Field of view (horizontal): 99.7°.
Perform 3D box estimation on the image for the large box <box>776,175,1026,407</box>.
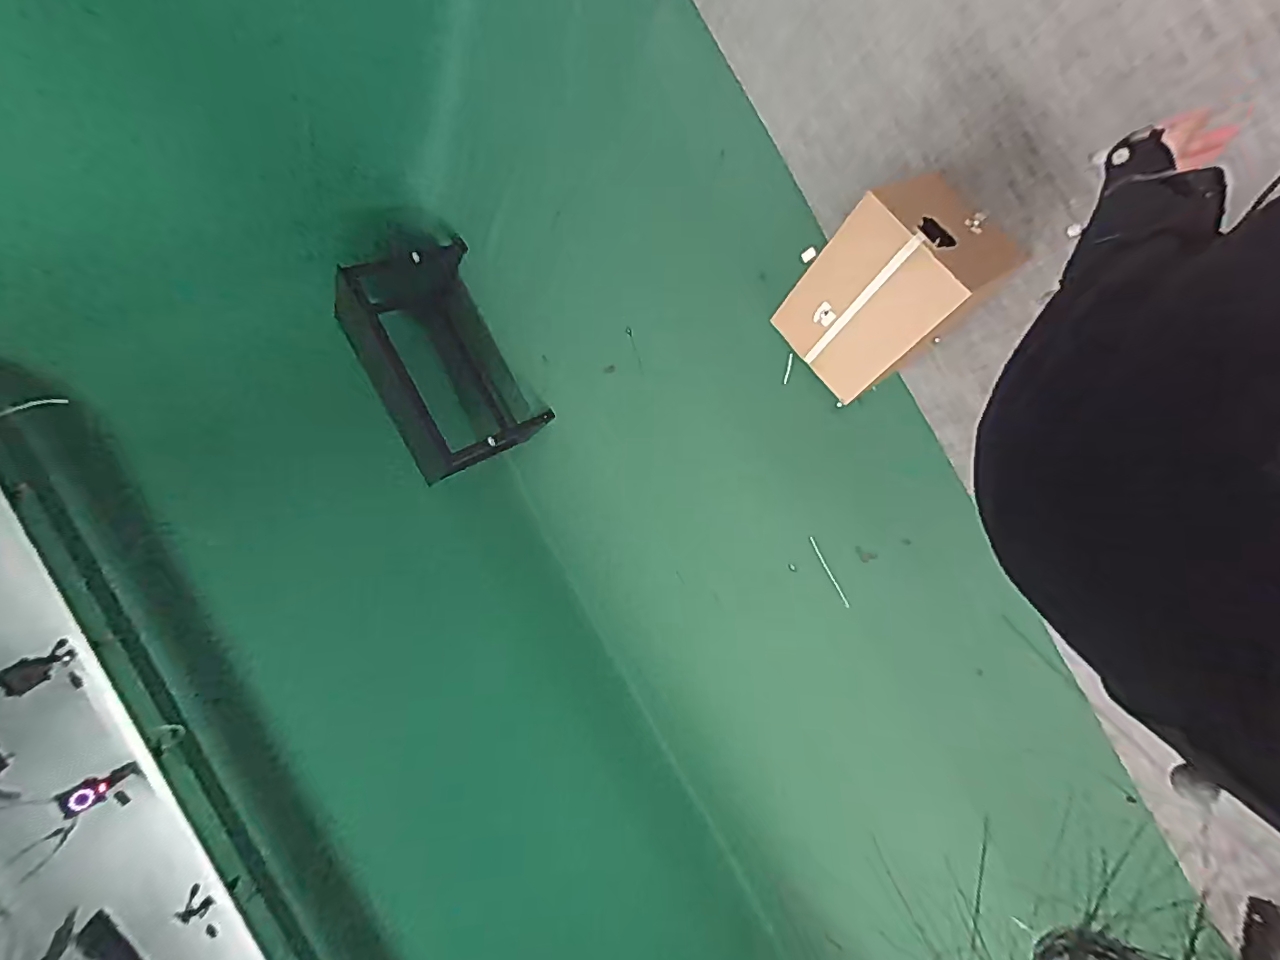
[{"bbox_3d":[0.627,-0.462,1.347,0.320,0.320,0.408,54,149,12],"label":"large box"}]
